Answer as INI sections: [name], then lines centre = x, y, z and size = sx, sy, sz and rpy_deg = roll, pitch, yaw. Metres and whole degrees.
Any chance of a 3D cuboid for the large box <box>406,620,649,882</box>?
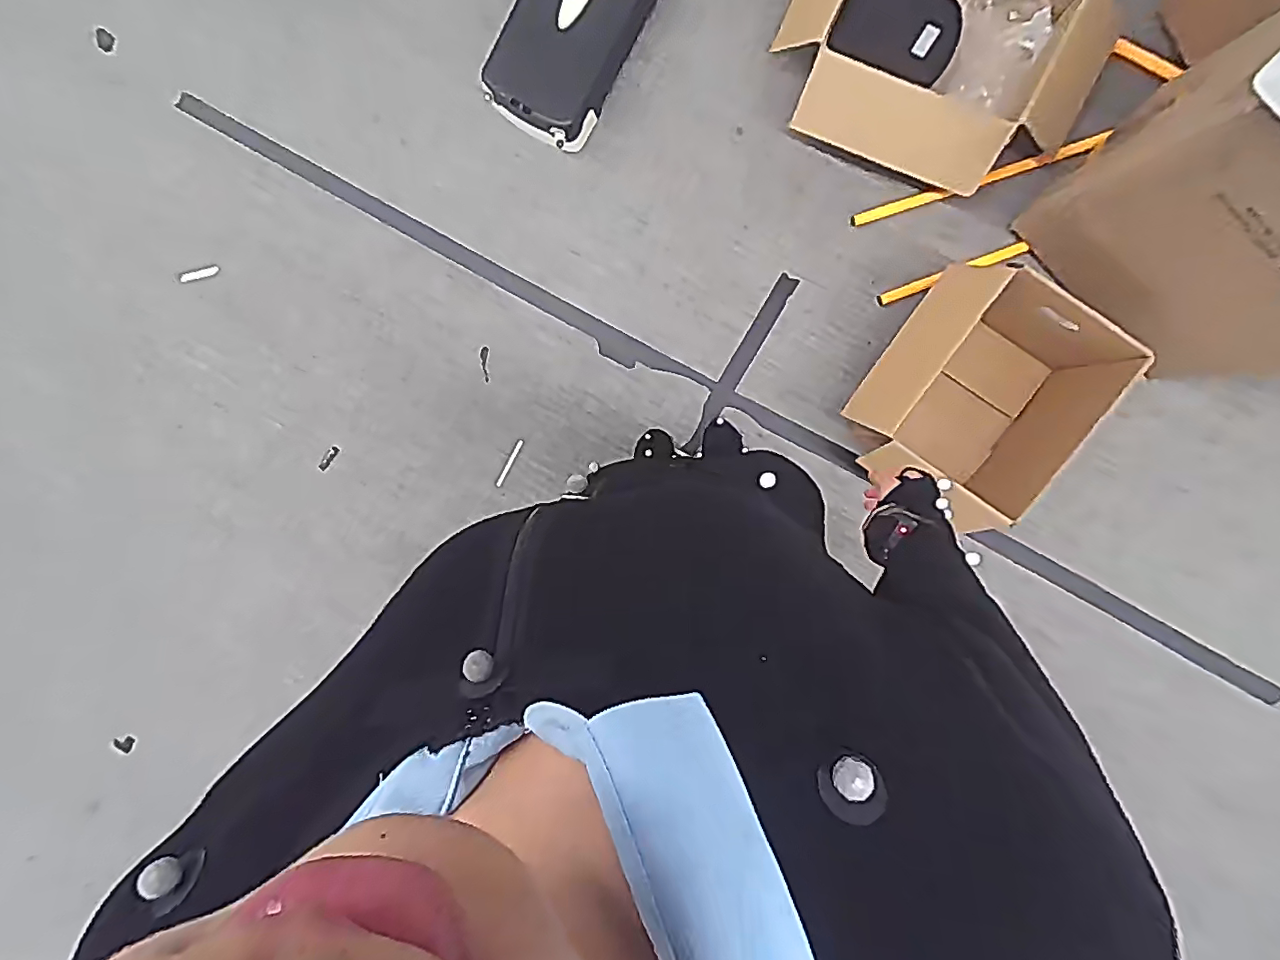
[large box]
centre = -0.238, 0.604, 1.269
size = 0.408, 0.320, 0.320
rpy_deg = 32, 98, 3
